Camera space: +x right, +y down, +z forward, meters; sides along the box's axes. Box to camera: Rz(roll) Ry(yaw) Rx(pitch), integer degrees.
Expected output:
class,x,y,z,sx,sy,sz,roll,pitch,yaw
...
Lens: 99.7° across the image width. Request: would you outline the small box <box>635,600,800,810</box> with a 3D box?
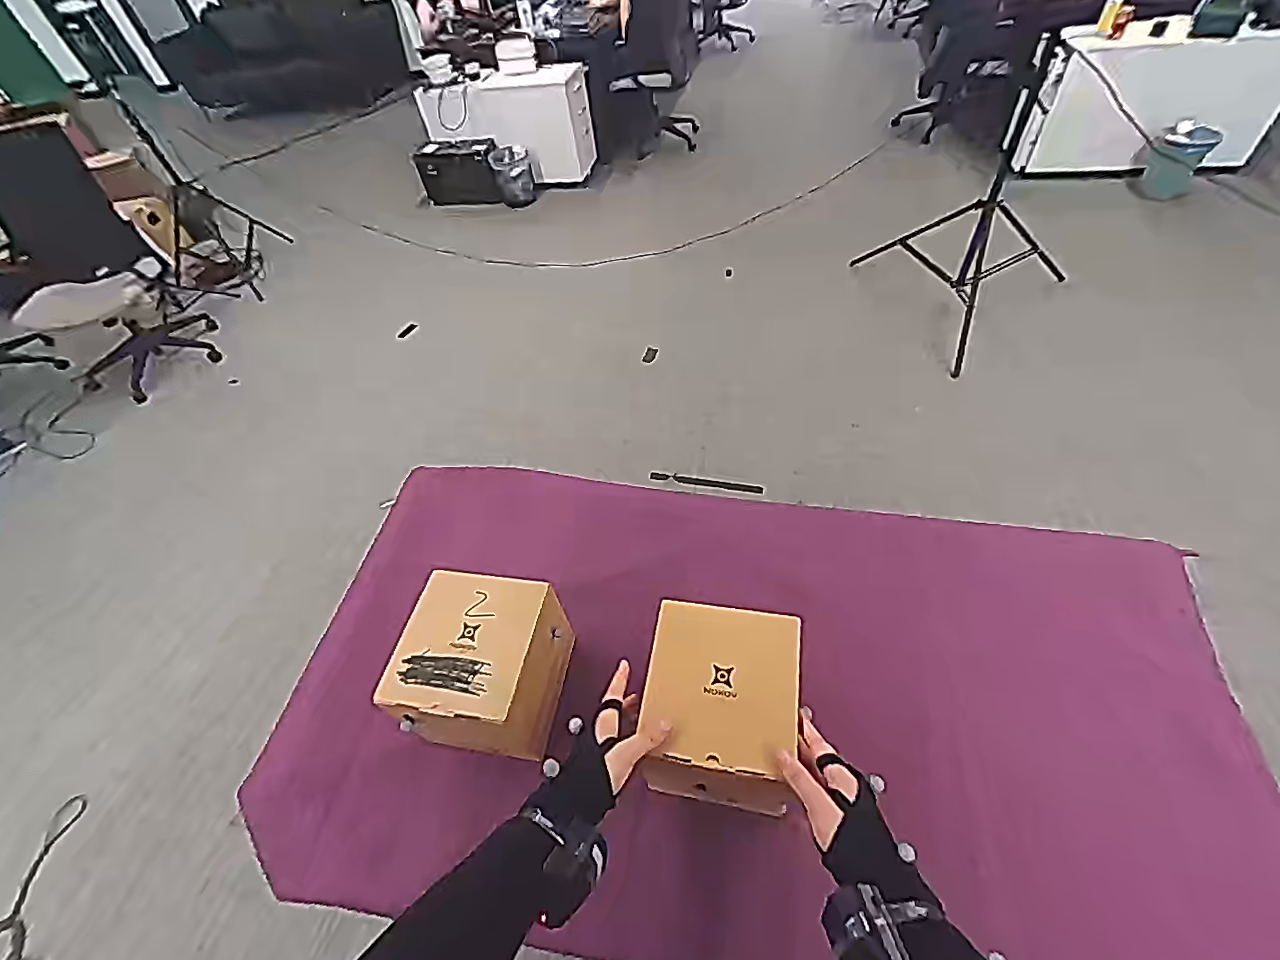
class,x,y,z,sx,sy,sz,roll,pitch,yaw
small box,0.097,0.270,0.650,0.168,0.176,0.179,5,51,12
